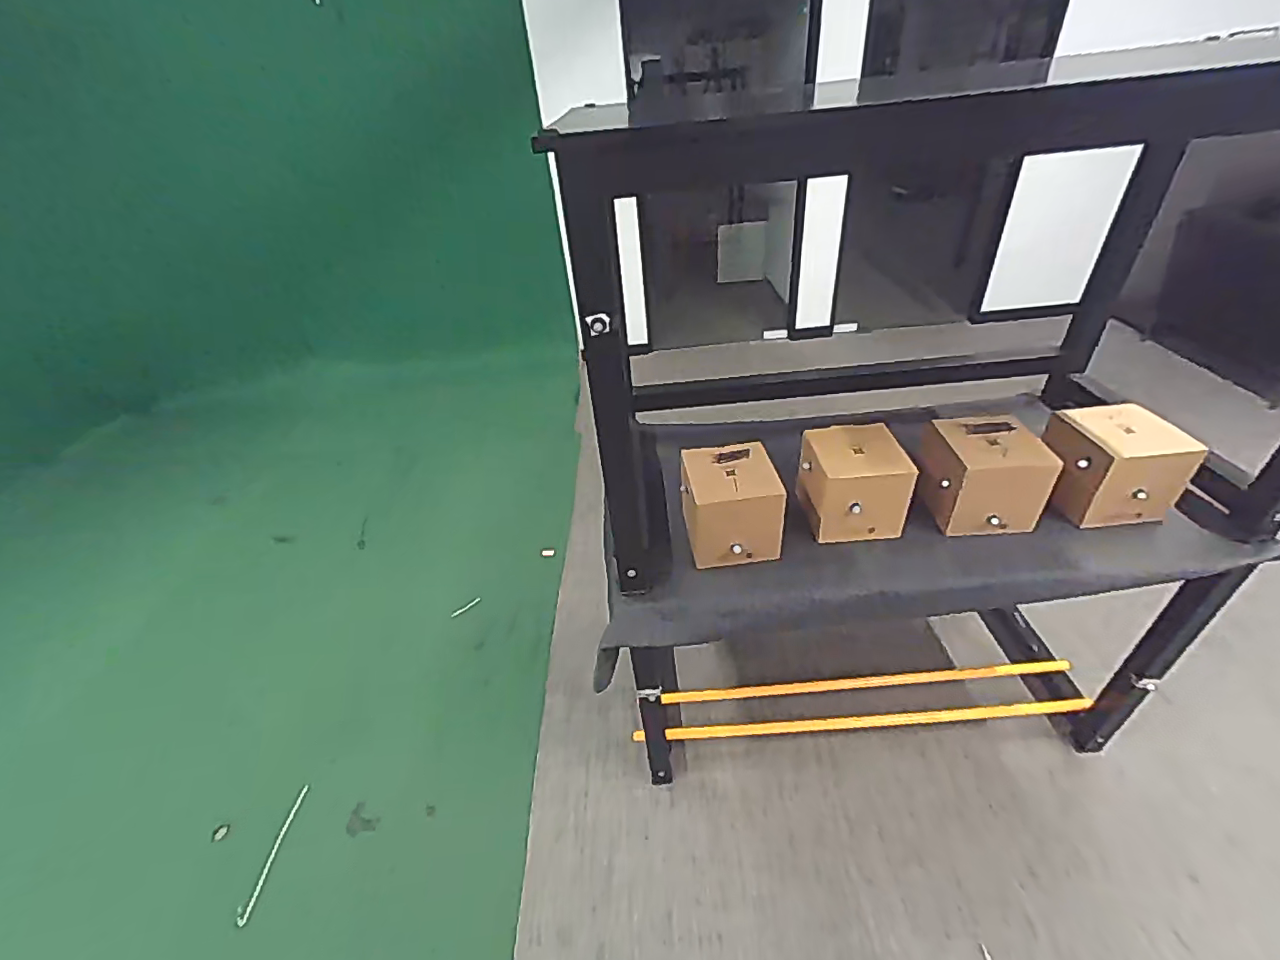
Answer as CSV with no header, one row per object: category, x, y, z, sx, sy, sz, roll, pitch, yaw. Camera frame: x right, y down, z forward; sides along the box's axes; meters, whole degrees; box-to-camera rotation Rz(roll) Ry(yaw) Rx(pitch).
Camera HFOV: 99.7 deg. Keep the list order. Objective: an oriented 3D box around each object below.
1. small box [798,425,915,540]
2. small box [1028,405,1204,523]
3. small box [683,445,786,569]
small box,0.428,0.010,1.098,0.168,0.176,0.179,-5,36,2
small box,0.919,-0.027,1.067,0.168,0.176,0.179,-5,35,1
small box,0.179,0.053,1.075,0.168,0.176,0.179,-7,37,-1
